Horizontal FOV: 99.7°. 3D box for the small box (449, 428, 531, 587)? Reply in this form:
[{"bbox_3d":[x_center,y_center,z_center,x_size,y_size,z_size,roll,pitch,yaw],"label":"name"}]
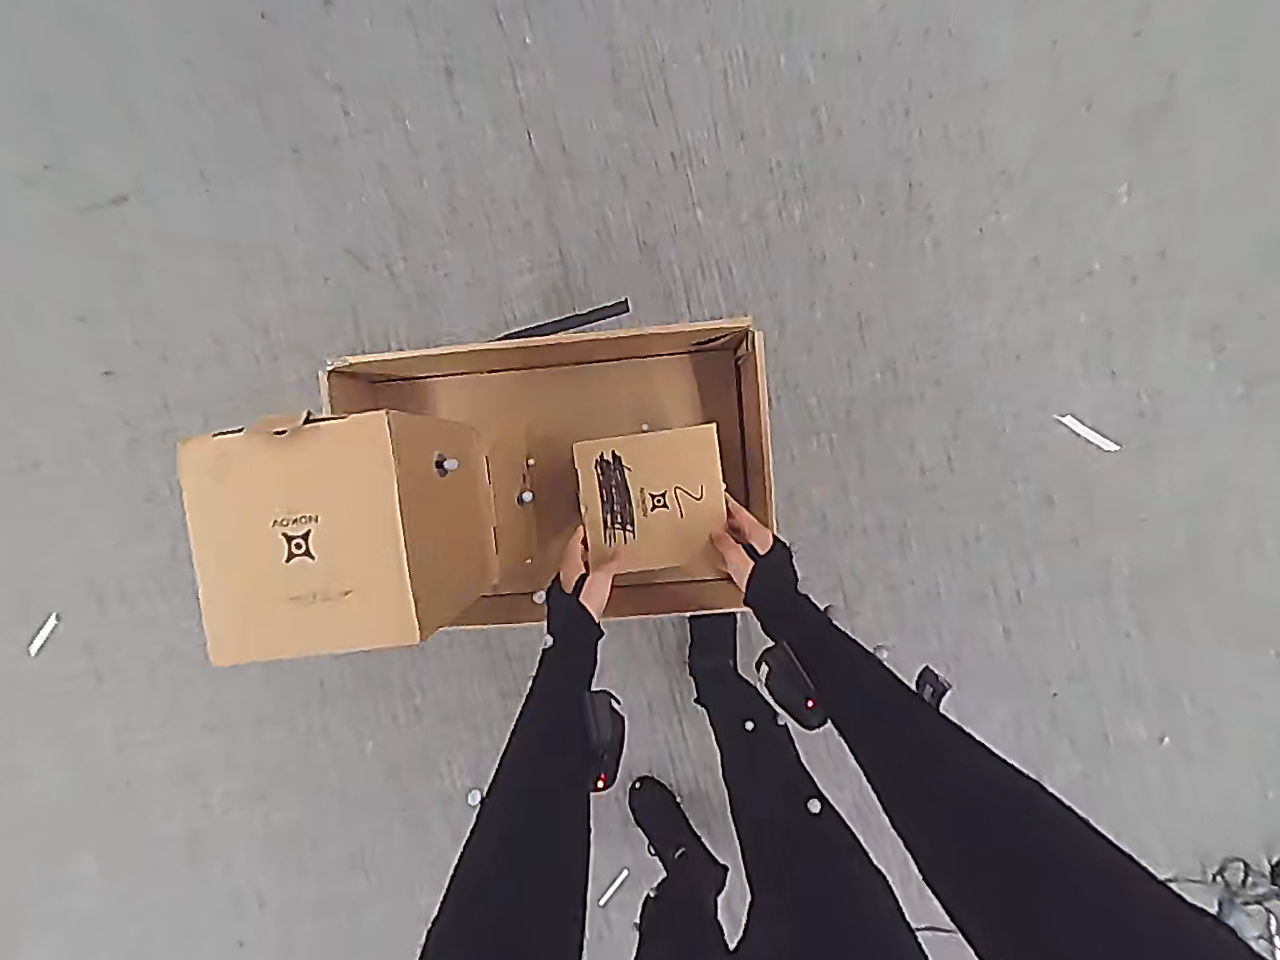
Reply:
[{"bbox_3d":[-0.238,0.031,0.634,0.179,0.176,0.168,-5,93,2],"label":"small box"}]

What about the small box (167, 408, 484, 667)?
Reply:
[{"bbox_3d":[-0.249,0.041,0.470,0.168,0.176,0.179,-7,92,3],"label":"small box"}]
